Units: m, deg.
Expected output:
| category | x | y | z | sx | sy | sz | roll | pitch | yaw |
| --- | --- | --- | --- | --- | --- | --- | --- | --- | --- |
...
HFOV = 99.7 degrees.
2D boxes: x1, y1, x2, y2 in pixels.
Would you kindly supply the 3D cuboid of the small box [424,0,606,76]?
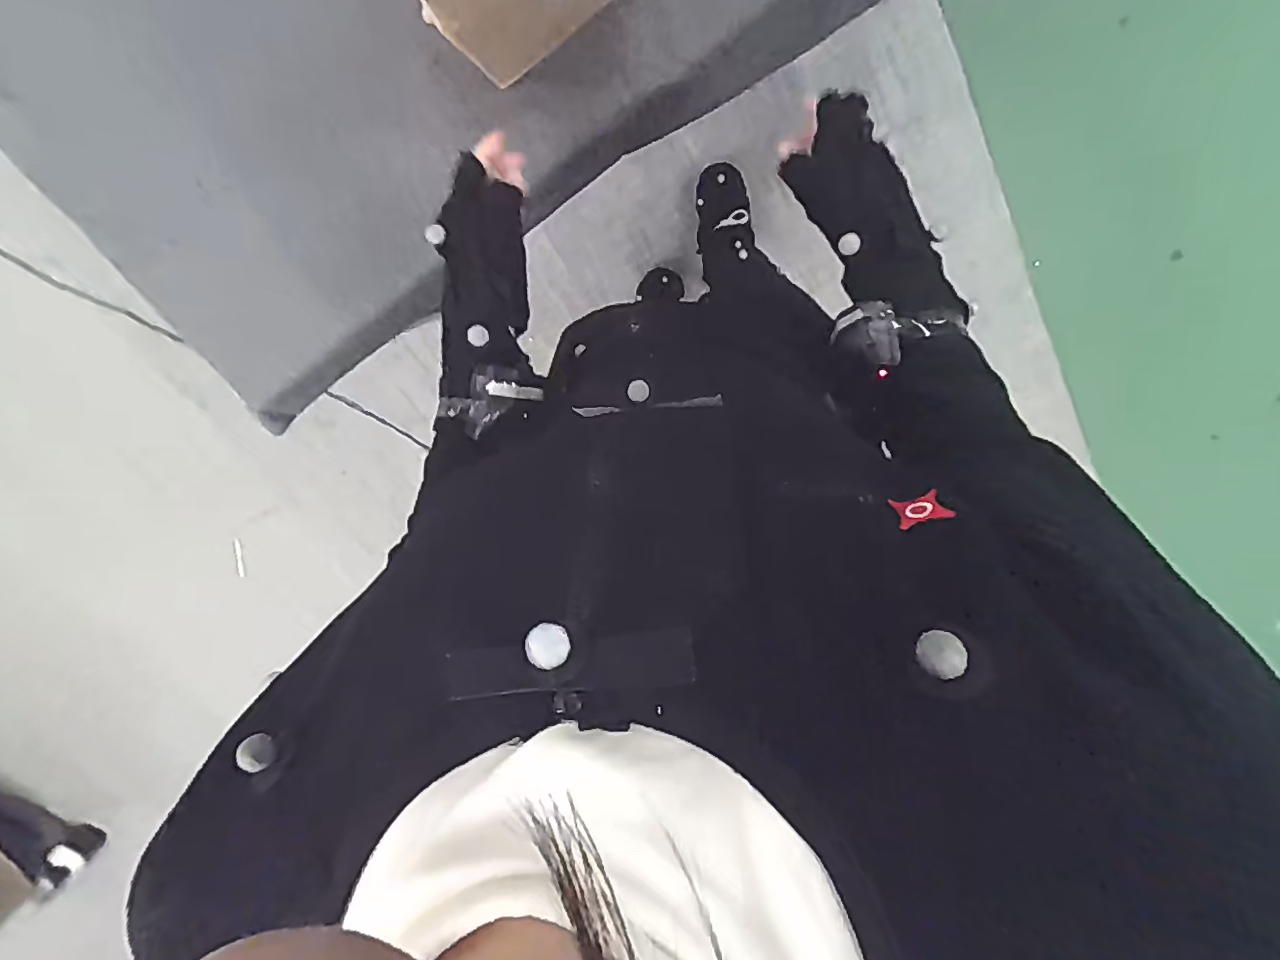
| category | x | y | z | sx | sy | sz | roll | pitch | yaw |
| --- | --- | --- | --- | --- | --- | --- | --- | --- | --- |
| small box | -0.105 | -0.451 | 0.404 | 0.179 | 0.176 | 0.168 | -30 | 111 | 14 |
